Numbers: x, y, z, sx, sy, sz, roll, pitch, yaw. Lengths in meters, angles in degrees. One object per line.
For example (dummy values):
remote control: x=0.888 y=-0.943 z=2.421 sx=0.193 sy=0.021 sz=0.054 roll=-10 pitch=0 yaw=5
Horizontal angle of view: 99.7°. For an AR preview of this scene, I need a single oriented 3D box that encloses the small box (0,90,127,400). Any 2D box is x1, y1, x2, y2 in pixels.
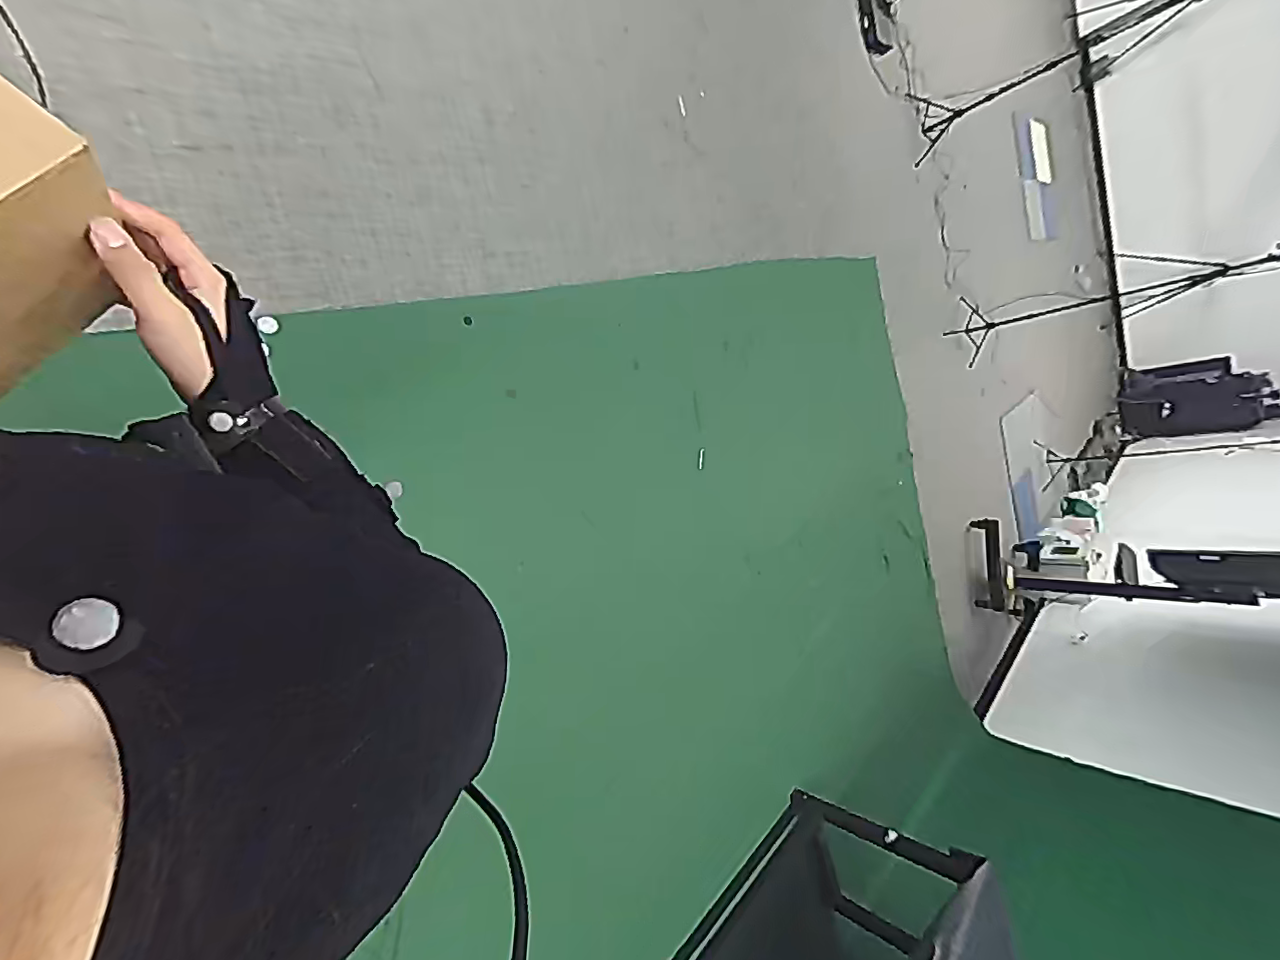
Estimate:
small box: x=-0.400 y=-0.126 z=0.253 sx=0.168 sy=0.176 sz=0.179 roll=40 pitch=65 yaw=-27
